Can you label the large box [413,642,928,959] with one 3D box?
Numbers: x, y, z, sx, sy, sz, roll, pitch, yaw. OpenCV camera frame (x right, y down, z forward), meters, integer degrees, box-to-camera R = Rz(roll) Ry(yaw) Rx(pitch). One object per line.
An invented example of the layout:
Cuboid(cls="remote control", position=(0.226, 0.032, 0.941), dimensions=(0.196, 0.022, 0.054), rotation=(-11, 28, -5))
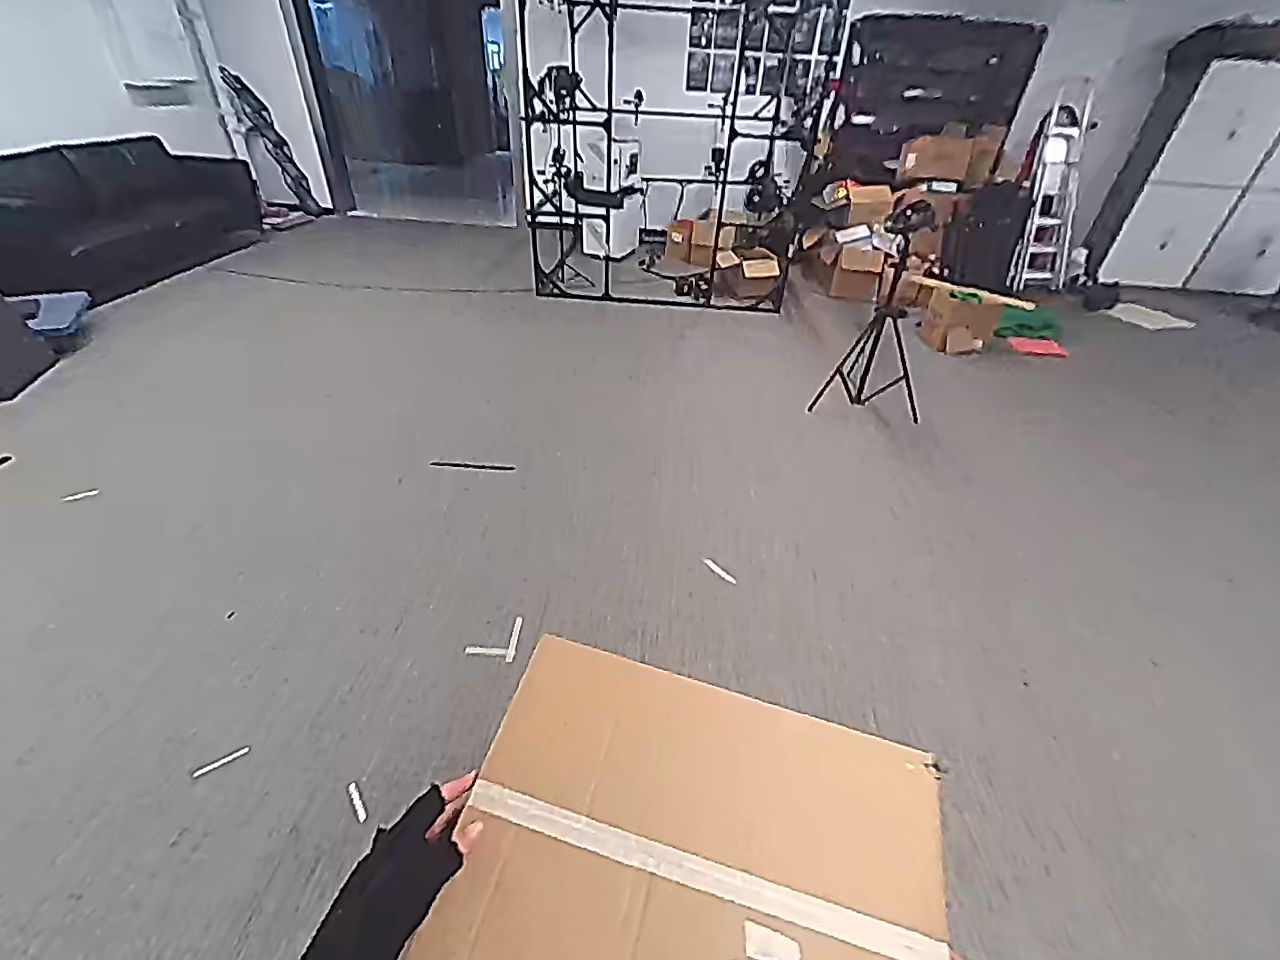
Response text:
Cuboid(cls="large box", position=(0.034, 0.429, 0.581), dimensions=(0.408, 0.320, 0.320), rotation=(15, 49, 7))
